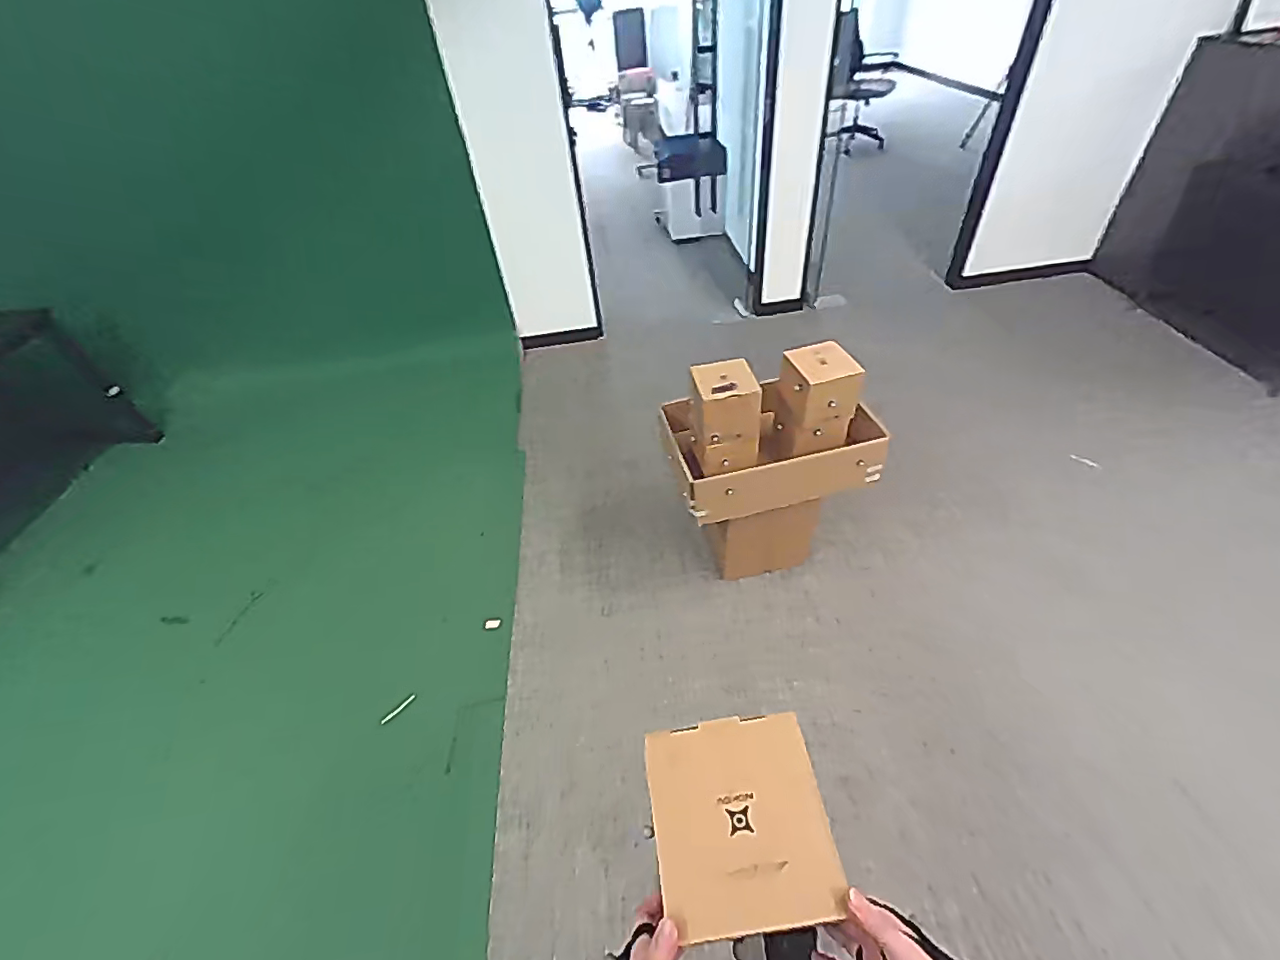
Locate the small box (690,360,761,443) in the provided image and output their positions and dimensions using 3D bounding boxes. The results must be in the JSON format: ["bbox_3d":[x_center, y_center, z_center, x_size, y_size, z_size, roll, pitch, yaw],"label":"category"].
[{"bbox_3d":[0.246,-0.220,1.569,0.168,0.176,0.179,-9,43,-3],"label":"small box"}]

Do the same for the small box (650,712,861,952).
[{"bbox_3d":[0.103,0.368,0.565,0.168,0.176,0.179,-8,48,0],"label":"small box"}]

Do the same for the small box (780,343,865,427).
[{"bbox_3d":[0.525,-0.271,1.583,0.168,0.176,0.179,-13,45,-8],"label":"small box"}]

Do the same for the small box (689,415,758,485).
[{"bbox_3d":[0.258,-0.103,1.683,0.168,0.176,0.179,-13,44,-5],"label":"small box"}]
